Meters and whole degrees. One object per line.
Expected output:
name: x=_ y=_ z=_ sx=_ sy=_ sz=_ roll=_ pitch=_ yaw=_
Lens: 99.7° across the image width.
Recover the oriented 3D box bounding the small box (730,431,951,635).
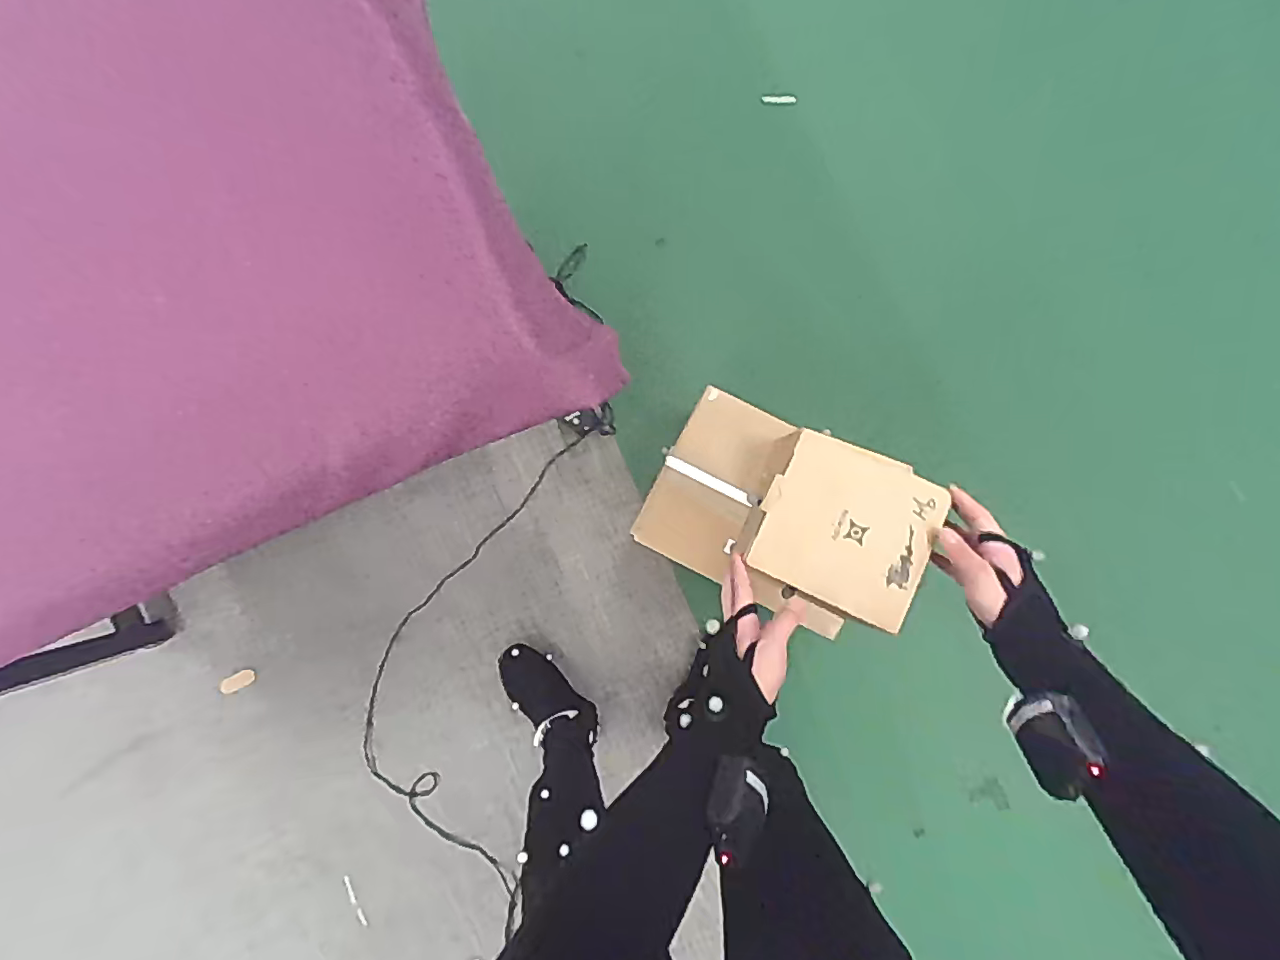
small box: x=0.223 y=0.067 z=0.653 sx=0.179 sy=0.176 sz=0.168 roll=27 pitch=84 yaw=7

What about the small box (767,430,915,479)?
small box: x=0.293 y=0.035 z=0.866 sx=0.179 sy=0.176 sz=0.168 roll=21 pitch=88 yaw=2
